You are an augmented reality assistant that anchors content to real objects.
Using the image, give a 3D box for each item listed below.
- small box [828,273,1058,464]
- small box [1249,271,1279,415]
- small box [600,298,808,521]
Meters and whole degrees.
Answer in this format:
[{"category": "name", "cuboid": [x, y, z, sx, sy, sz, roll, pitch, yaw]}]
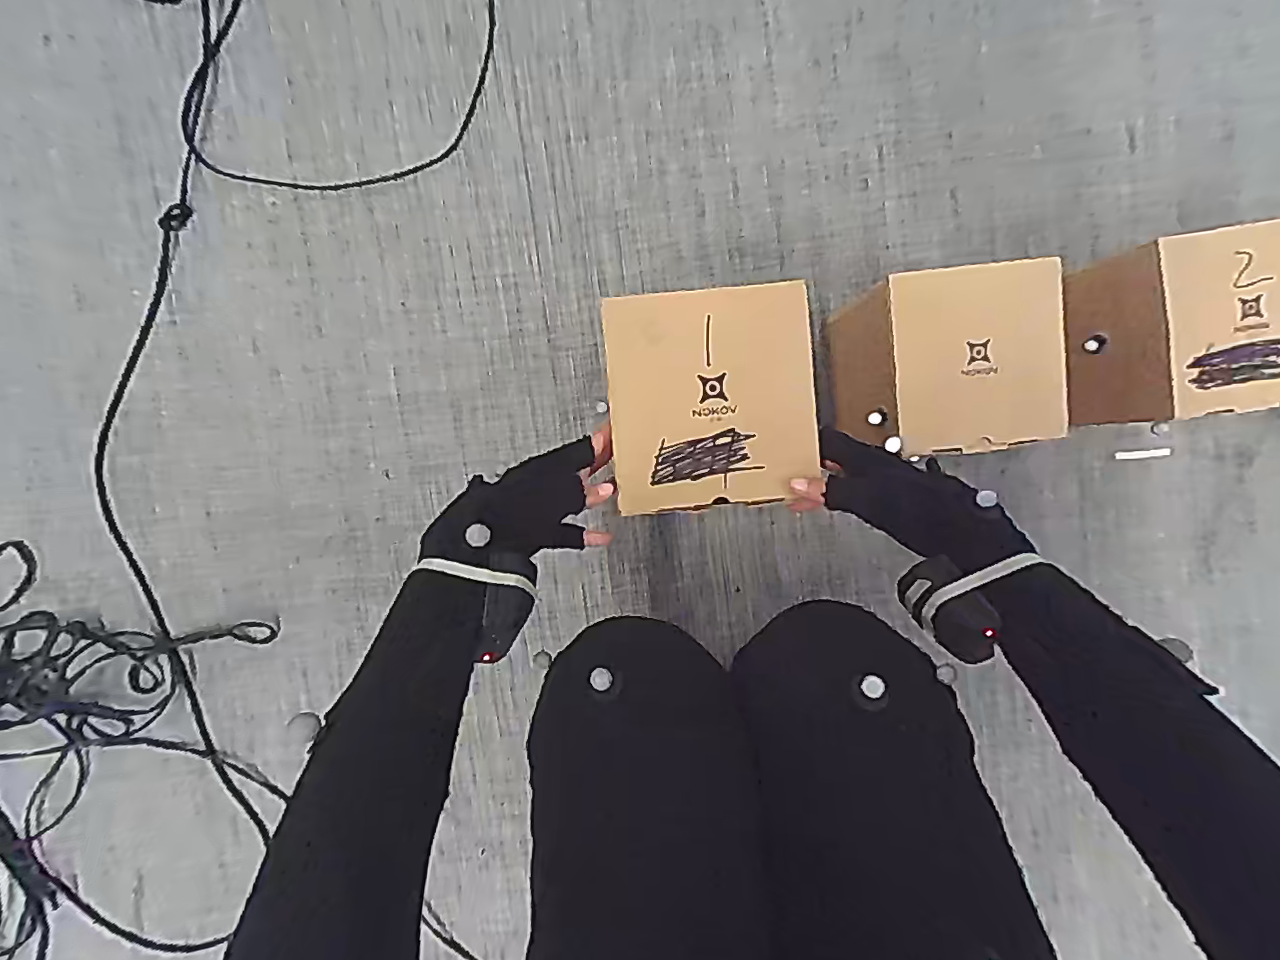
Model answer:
[{"category": "small box", "cuboid": [0.322, -0.112, 0.608, 0.168, 0.176, 0.179, -6, 93, 1]}, {"category": "small box", "cuboid": [0.849, -0.172, 0.603, 0.168, 0.176, 0.179, -6, 94, 1]}, {"category": "small box", "cuboid": [0.055, -0.061, 0.527, 0.168, 0.176, 0.179, -5, 91, 0]}]
